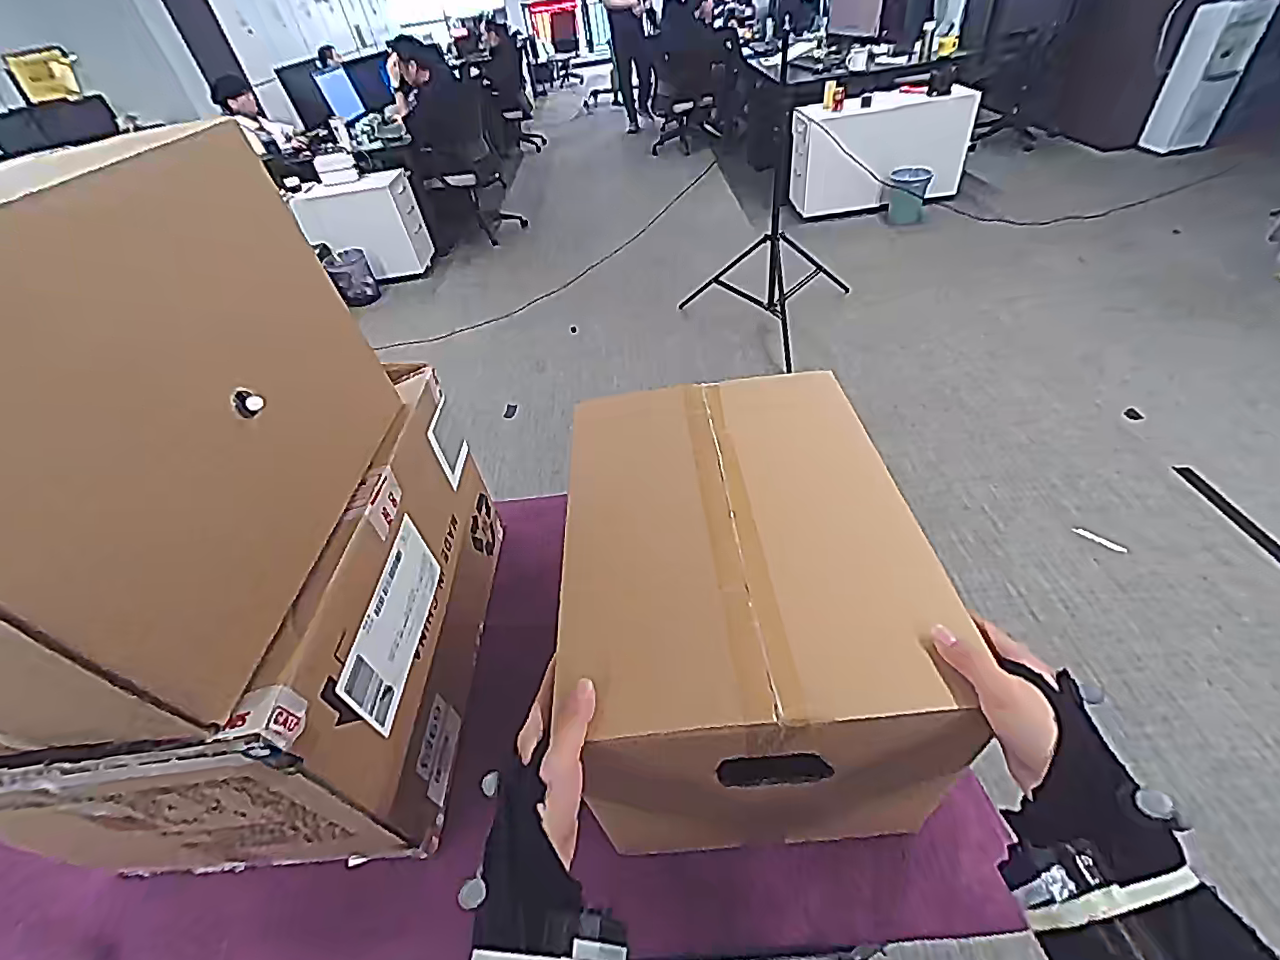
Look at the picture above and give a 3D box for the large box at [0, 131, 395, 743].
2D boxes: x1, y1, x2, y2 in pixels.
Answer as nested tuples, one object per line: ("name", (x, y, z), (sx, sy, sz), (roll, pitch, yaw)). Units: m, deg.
("large box", (-0.472, -0.046, 0.455), (0.320, 0.320, 0.408), (-9, 43, 7))
